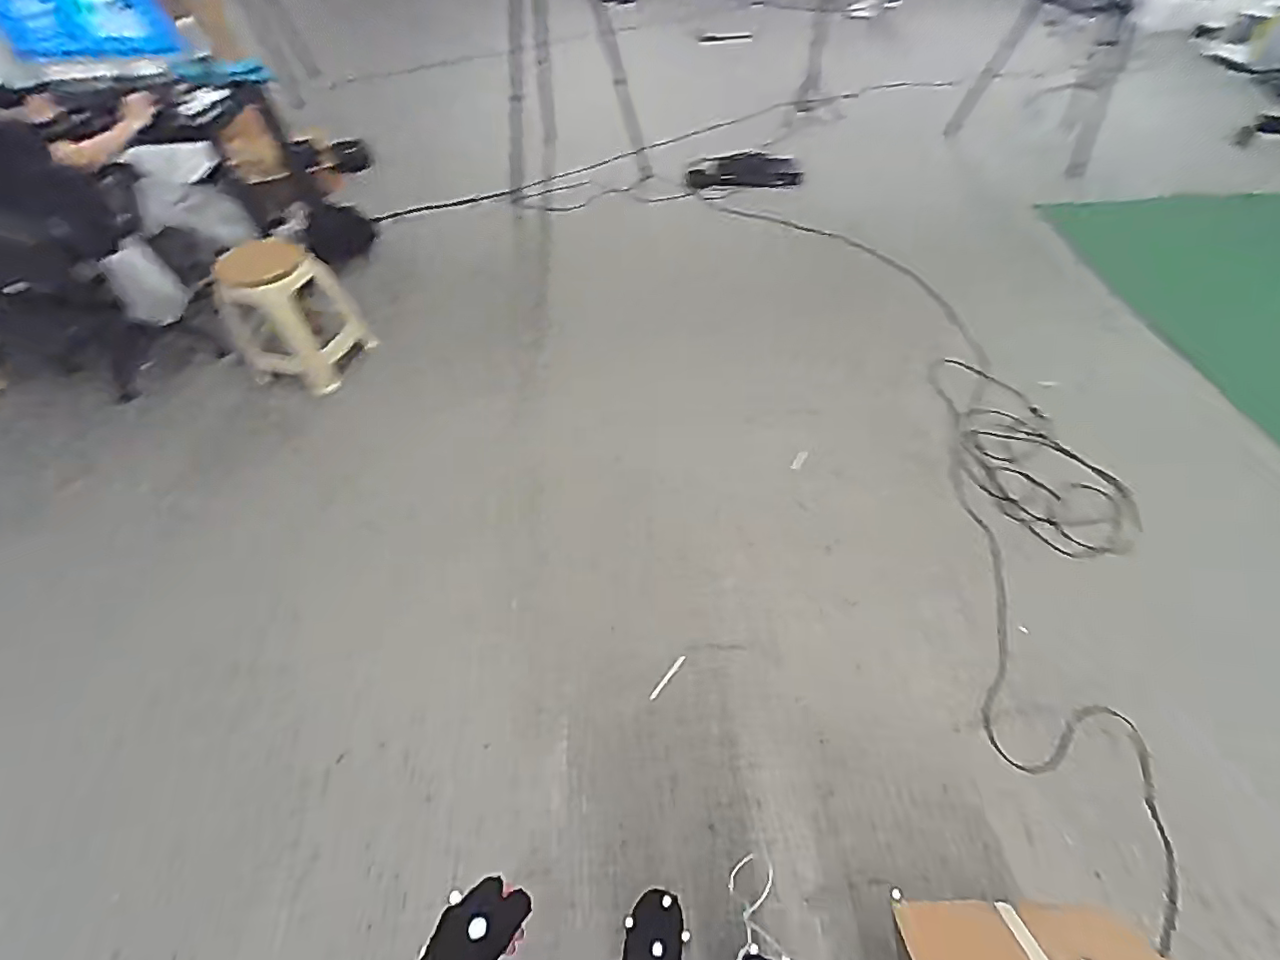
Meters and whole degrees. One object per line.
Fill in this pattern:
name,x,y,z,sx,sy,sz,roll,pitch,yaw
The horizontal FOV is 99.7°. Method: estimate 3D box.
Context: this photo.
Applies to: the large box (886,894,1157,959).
large box,0.522,0.783,0.622,0.320,0.408,0.320,-5,88,8
